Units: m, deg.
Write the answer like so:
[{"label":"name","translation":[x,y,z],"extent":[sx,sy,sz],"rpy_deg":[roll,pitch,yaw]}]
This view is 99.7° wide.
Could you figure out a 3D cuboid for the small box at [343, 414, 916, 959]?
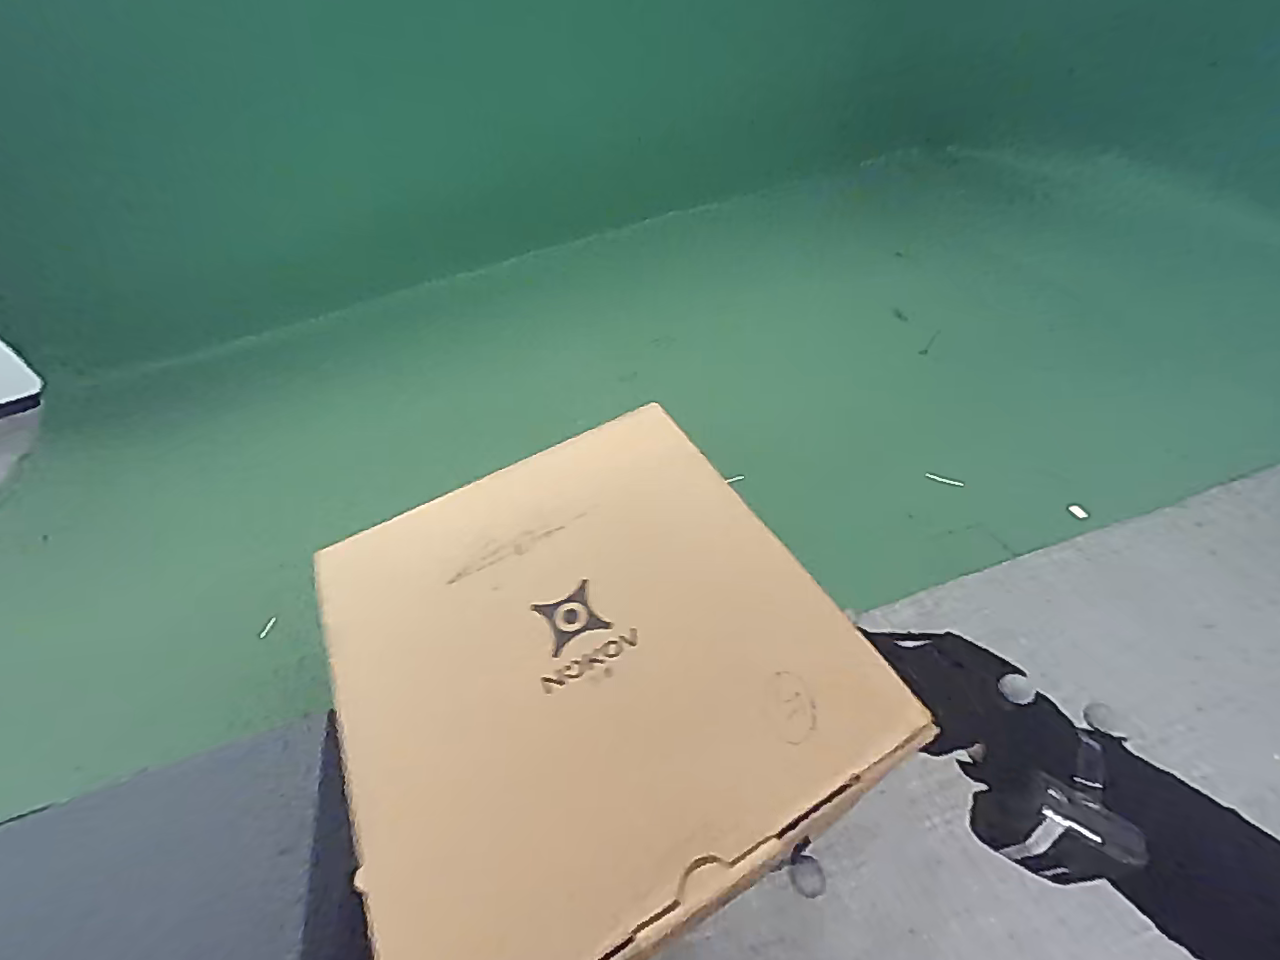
[{"label":"small box","translation":[-0.012,0.106,0.266],"extent":[0.168,0.176,0.179],"rpy_deg":[-25,52,-13]}]
